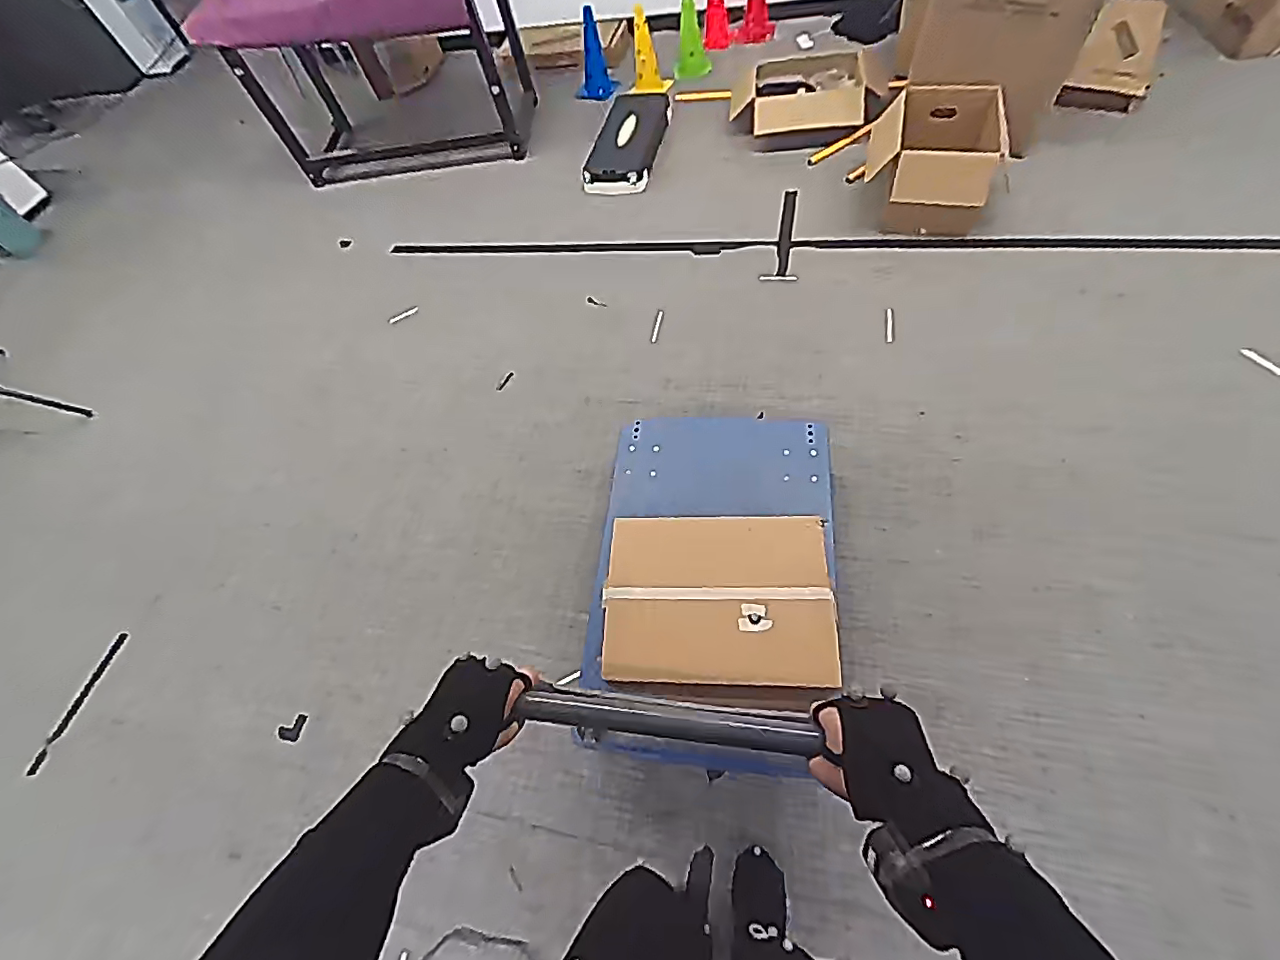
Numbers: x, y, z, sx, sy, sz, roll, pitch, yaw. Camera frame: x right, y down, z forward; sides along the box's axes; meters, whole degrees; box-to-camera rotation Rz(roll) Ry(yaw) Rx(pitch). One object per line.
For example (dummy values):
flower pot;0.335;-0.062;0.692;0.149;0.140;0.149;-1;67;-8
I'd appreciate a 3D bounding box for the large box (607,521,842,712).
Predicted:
large box;0.160;0.291;1.114;0.408;0.320;0.320;-1;60;8
